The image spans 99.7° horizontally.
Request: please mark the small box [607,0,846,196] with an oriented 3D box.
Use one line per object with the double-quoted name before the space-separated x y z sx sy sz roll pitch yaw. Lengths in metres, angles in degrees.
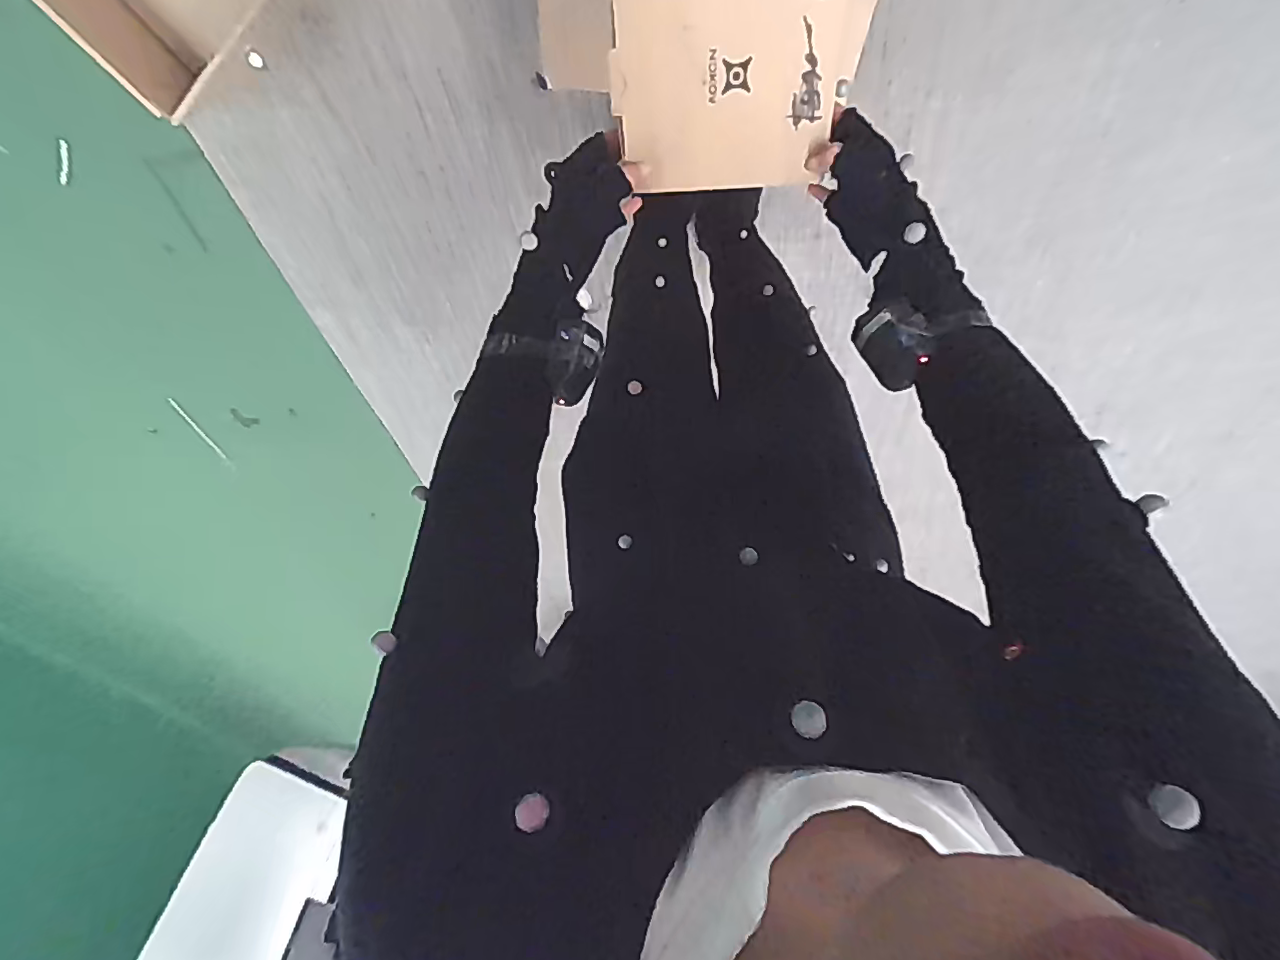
"small box" 0.073 -0.371 0.485 0.179 0.176 0.168 0 135 7
